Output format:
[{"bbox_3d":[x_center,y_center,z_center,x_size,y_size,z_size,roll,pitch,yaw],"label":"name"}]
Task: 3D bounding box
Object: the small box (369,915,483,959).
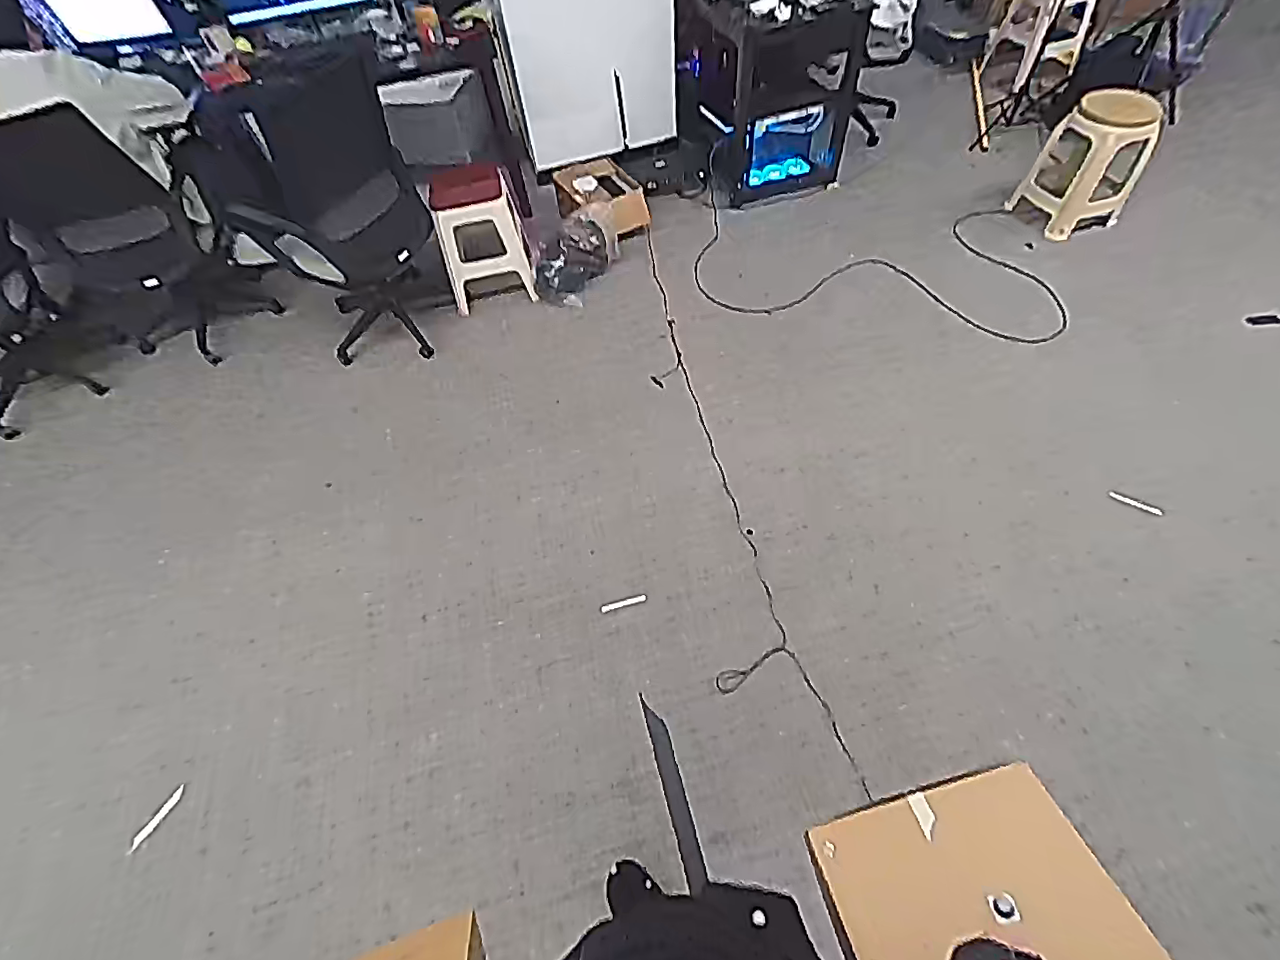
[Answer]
[{"bbox_3d":[-0.278,0.724,0.685,0.168,0.179,0.176,-15,87,-14],"label":"small box"}]
